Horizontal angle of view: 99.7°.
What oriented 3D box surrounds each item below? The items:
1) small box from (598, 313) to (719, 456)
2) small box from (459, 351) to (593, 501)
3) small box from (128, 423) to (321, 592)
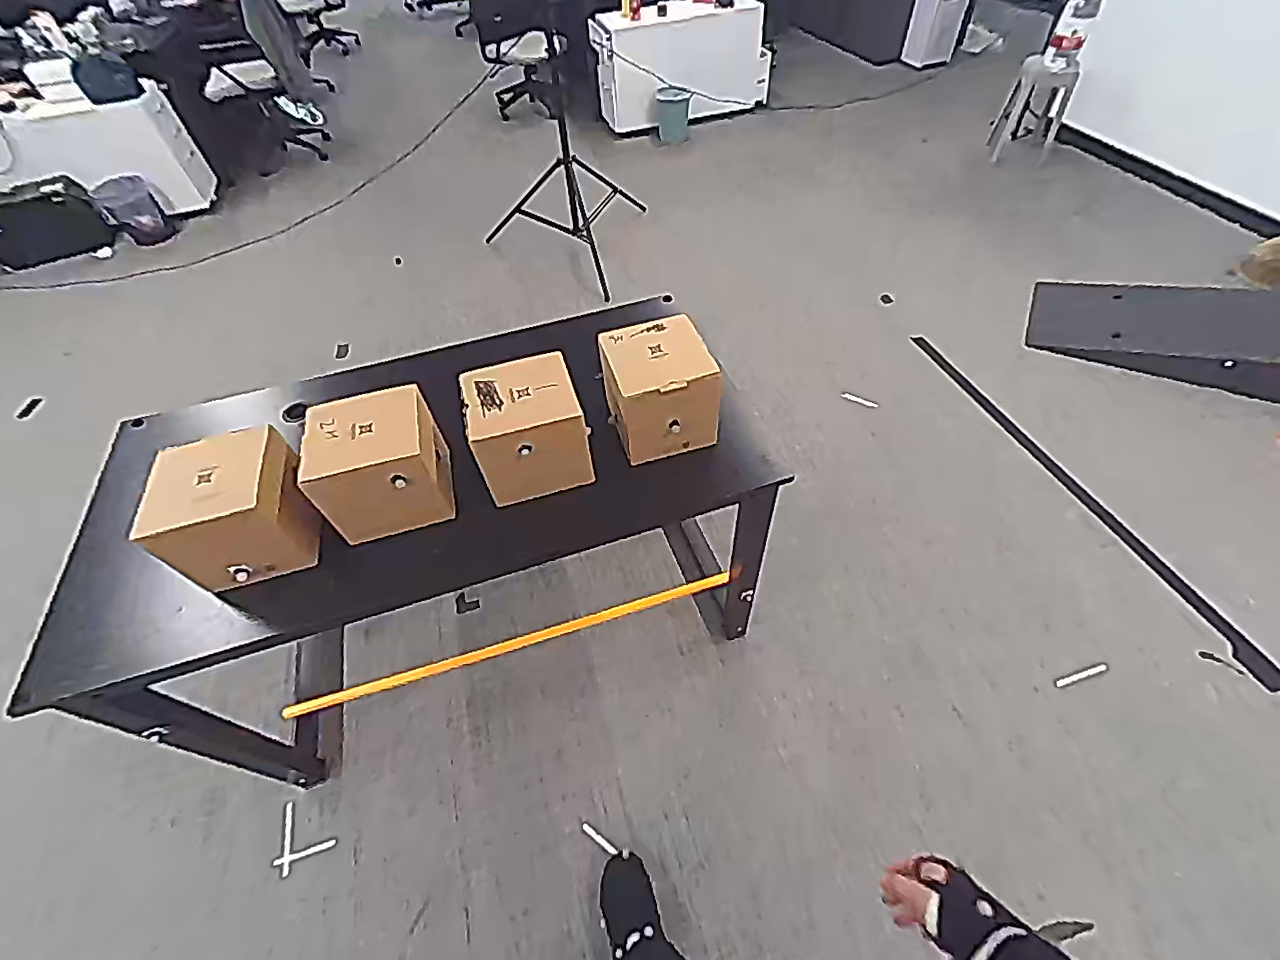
[{"bbox_3d":[0.031,-0.160,0.956,0.168,0.176,0.179,-14,53,-8],"label":"small box"},{"bbox_3d":[-0.189,-0.086,0.915,0.179,0.176,0.168,-15,52,-9],"label":"small box"},{"bbox_3d":[-0.625,0.045,0.844,0.168,0.176,0.179,-17,53,-8],"label":"small box"}]
